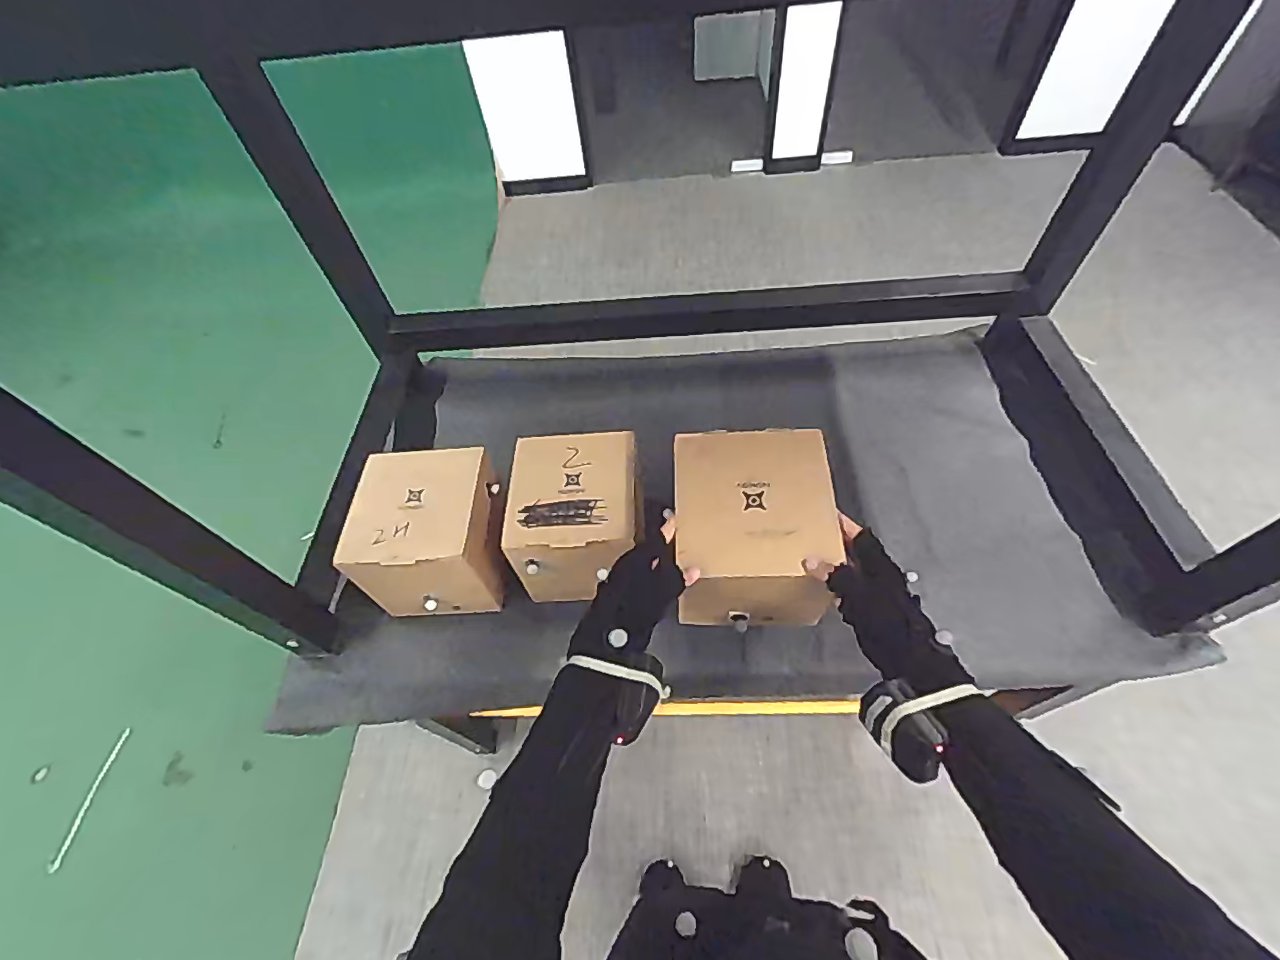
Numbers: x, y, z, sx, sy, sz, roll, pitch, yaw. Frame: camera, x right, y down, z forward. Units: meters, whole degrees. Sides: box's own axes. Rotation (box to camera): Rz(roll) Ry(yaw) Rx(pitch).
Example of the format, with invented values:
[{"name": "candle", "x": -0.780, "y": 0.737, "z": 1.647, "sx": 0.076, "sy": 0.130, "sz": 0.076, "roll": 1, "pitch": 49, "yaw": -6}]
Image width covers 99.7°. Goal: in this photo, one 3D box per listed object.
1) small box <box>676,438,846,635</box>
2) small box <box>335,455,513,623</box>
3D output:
[{"name": "small box", "x": 0.126, "y": 0.071, "z": 0.634, "sx": 0.168, "sy": 0.176, "sz": 0.179, "roll": -2, "pitch": 58, "yaw": 5}, {"name": "small box", "x": -0.286, "y": 0.086, "z": 0.767, "sx": 0.168, "sy": 0.176, "sz": 0.179, "roll": -4, "pitch": 53, "yaw": 3}]
